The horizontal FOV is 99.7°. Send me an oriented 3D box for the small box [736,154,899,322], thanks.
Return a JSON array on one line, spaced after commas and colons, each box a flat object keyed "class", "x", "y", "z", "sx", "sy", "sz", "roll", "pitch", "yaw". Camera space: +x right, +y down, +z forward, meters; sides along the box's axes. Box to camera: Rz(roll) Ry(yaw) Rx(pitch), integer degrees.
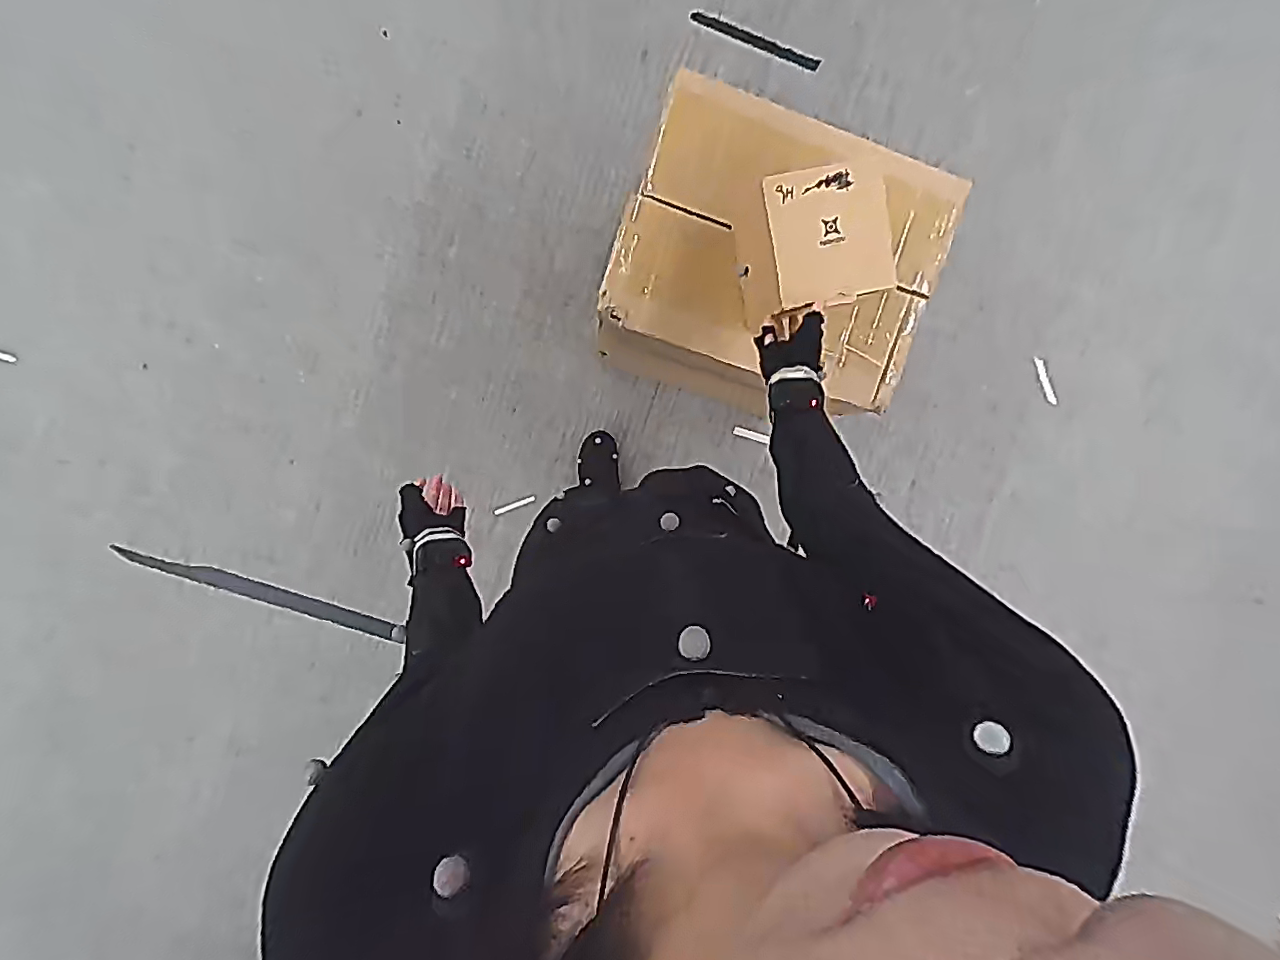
[{"class": "small box", "x": 0.251, "y": -0.339, "z": 0.796, "sx": 0.168, "sy": 0.176, "sz": 0.179, "roll": -12, "pitch": 98, "yaw": -3}]
